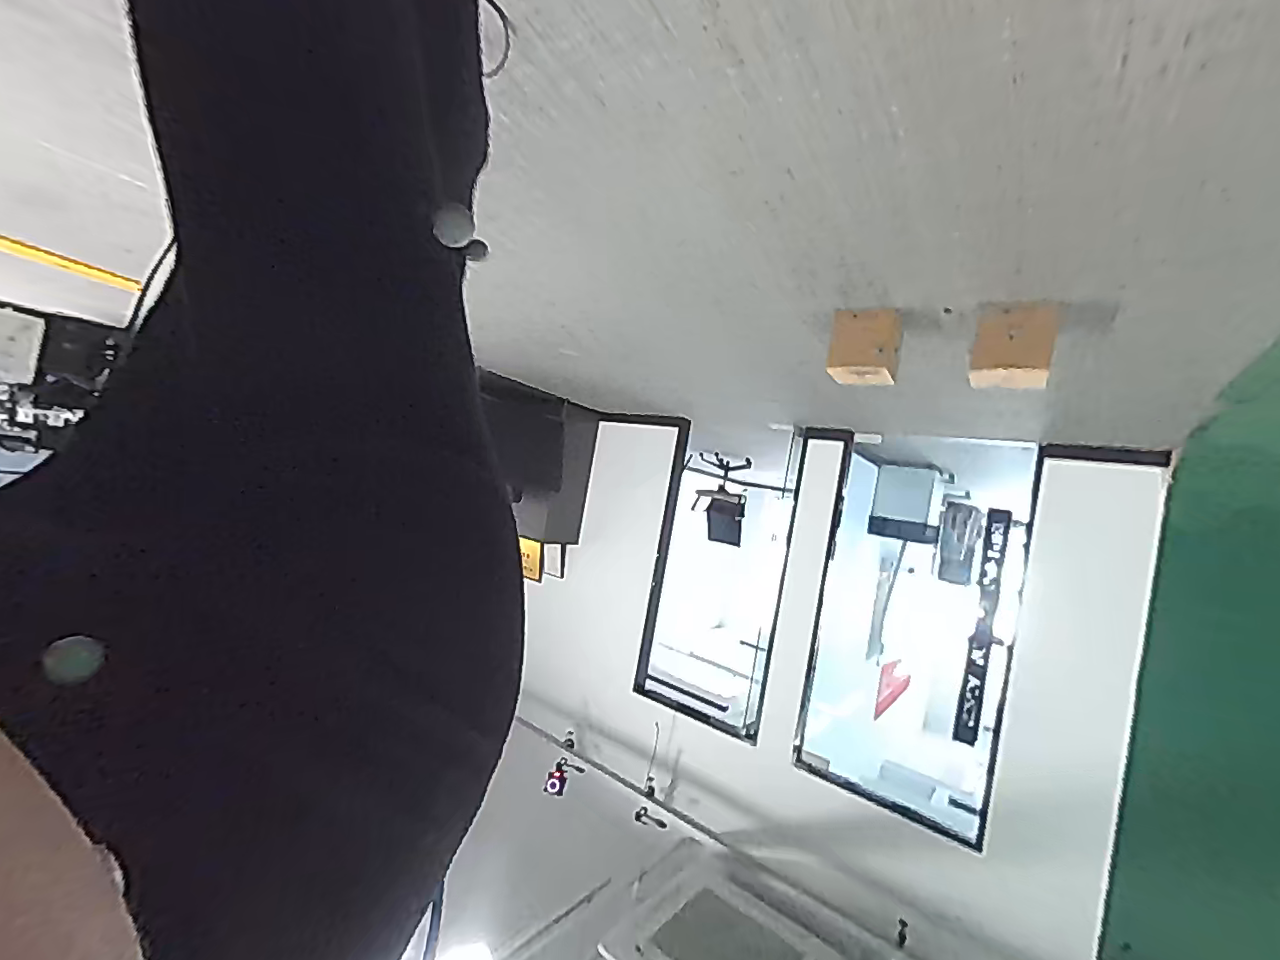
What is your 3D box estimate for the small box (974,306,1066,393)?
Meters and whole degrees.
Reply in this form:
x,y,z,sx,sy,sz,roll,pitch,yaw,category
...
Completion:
x,y,z,sx,sy,sz,roll,pitch,yaw,category
0.933,-0.321,1.334,0.168,0.176,0.179,9,178,35,small box
